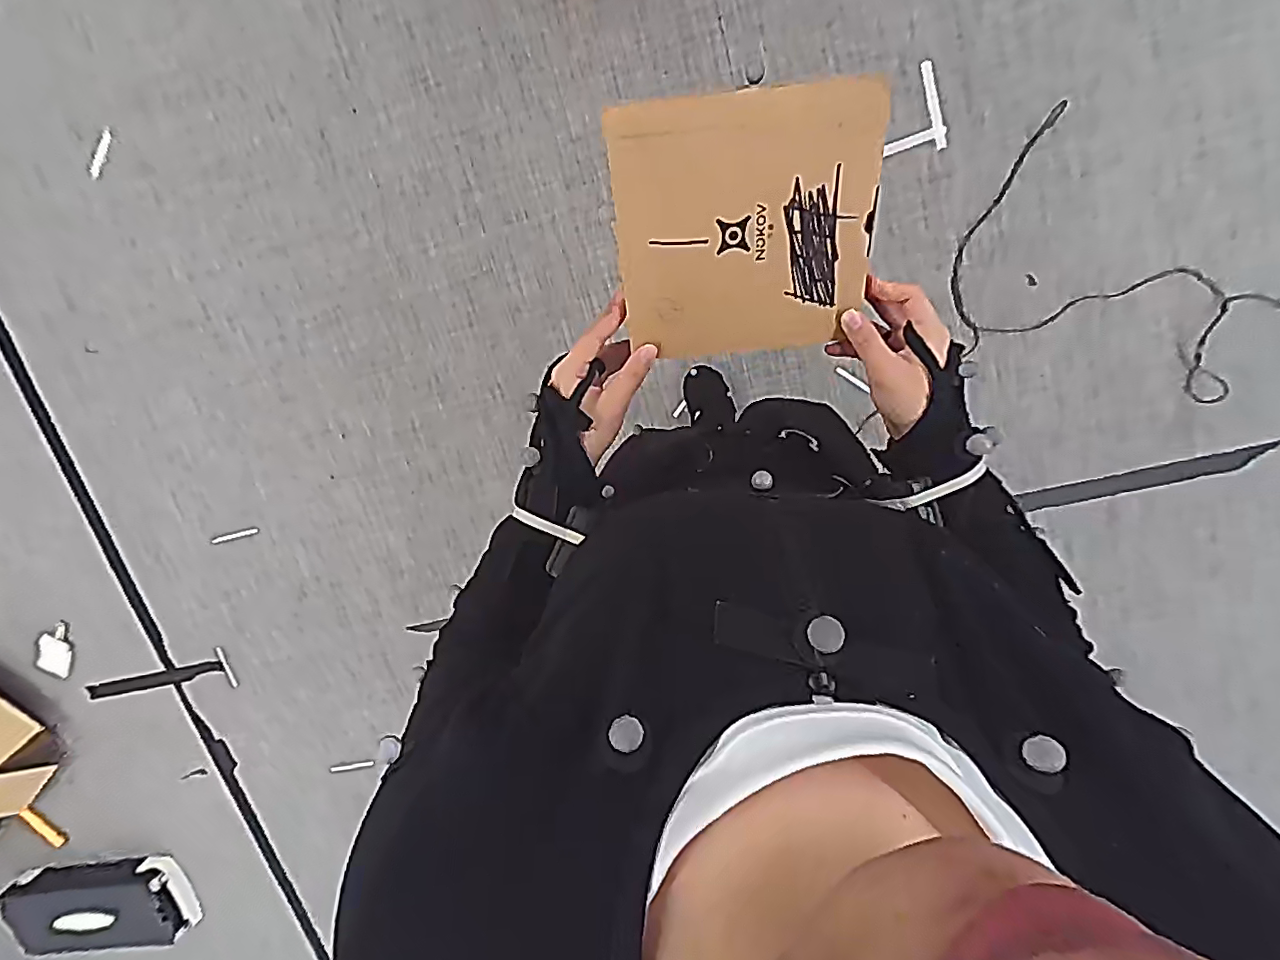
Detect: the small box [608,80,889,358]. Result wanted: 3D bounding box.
[{"bbox_3d":[0.072,-0.215,0.440,0.179,0.176,0.168,-5,124,3],"label":"small box"}]
